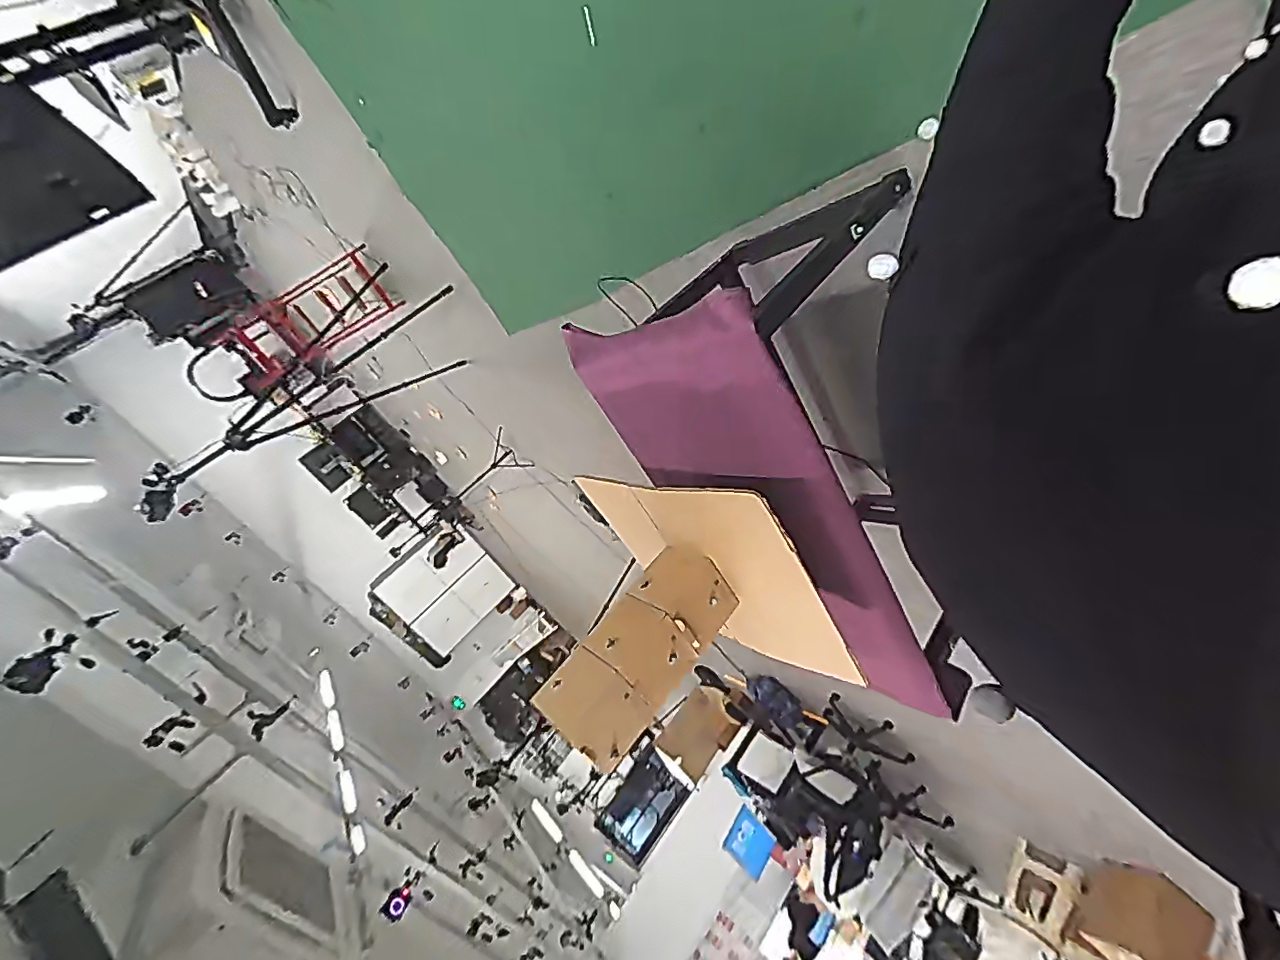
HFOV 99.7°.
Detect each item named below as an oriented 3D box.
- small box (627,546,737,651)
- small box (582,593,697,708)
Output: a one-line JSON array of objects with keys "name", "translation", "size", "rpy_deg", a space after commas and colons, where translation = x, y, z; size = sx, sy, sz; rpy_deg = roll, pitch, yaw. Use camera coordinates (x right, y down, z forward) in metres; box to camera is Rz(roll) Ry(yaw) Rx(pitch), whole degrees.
[{"name": "small box", "translation": [0.106, 0.285, 1.344], "size": [0.179, 0.176, 0.168], "rpy_deg": [8, 139, 55]}, {"name": "small box", "translation": [0.002, 0.393, 1.282], "size": [0.179, 0.176, 0.168], "rpy_deg": [8, 138, 55]}]
